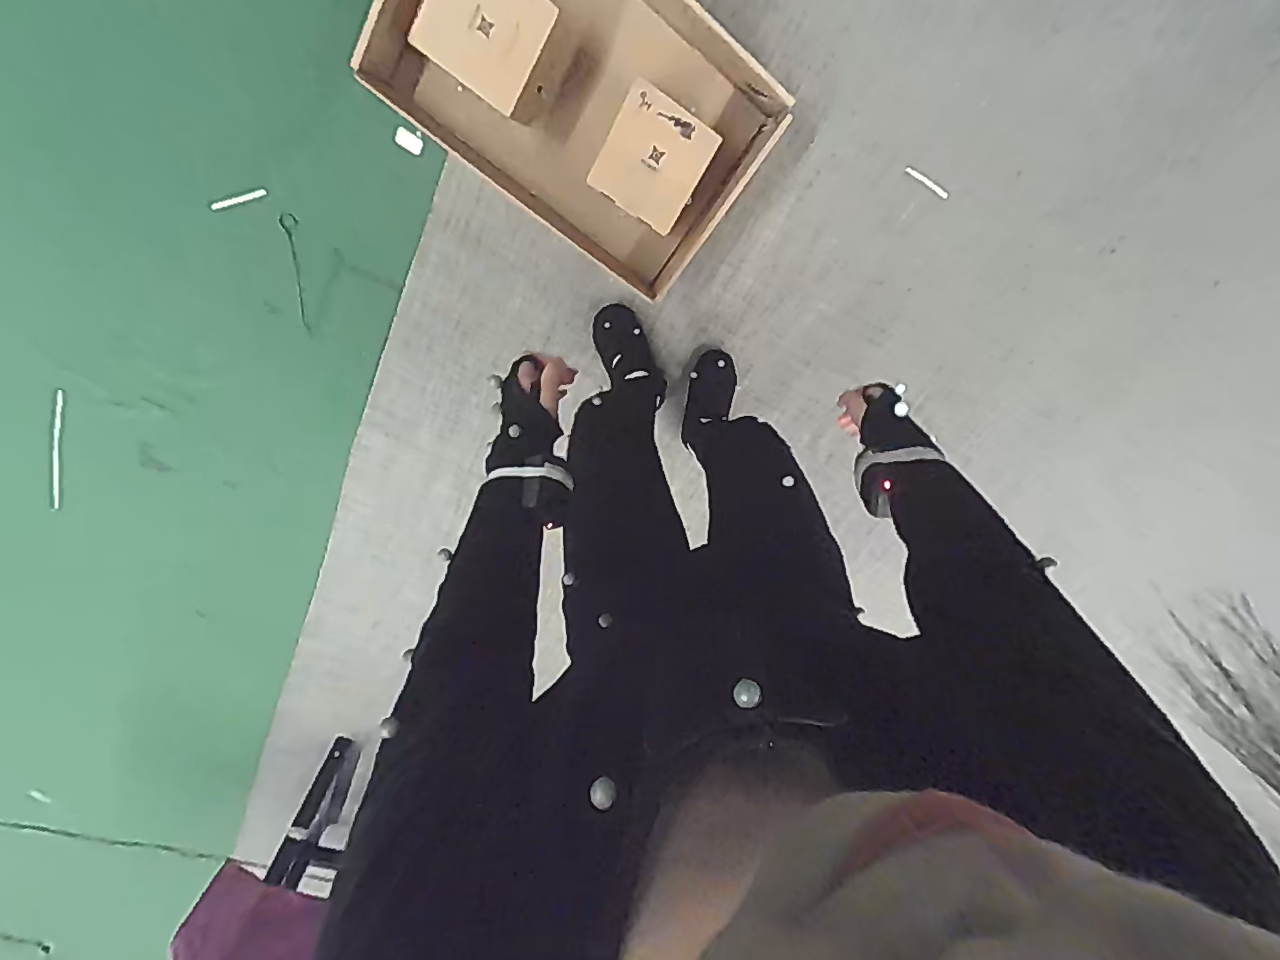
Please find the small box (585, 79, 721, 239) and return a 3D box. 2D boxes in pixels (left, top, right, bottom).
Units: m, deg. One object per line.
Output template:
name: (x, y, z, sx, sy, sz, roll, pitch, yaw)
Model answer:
small box: (0.021, -0.562, 0.964, 0.168, 0.176, 0.179, 28, 115, -16)
